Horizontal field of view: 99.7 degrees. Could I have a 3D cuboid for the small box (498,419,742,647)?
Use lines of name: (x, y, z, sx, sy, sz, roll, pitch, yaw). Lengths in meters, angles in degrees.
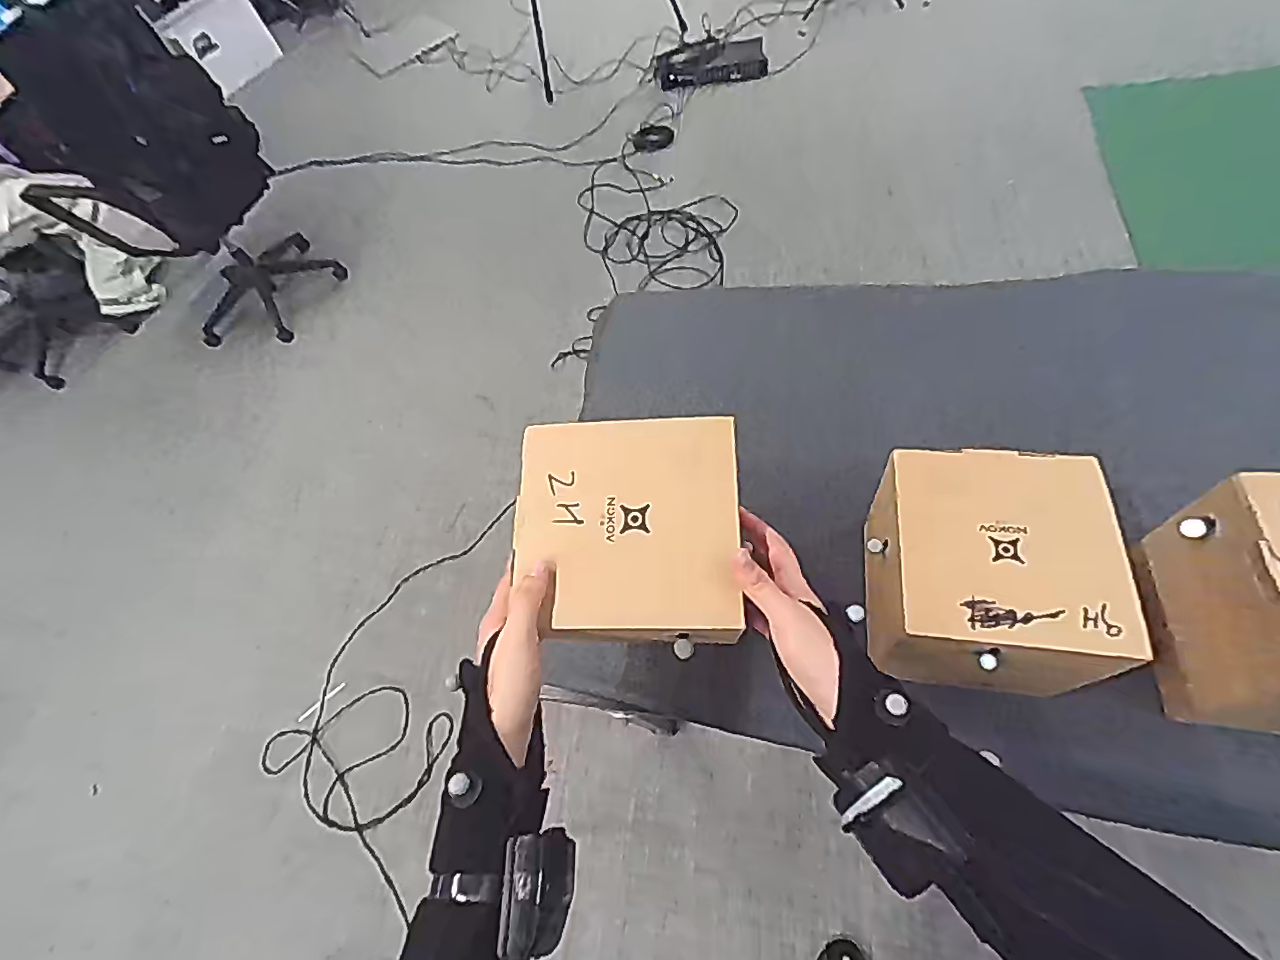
small box: (-0.005, 0.057, 0.480, 0.179, 0.176, 0.168, -2, 70, 8)
